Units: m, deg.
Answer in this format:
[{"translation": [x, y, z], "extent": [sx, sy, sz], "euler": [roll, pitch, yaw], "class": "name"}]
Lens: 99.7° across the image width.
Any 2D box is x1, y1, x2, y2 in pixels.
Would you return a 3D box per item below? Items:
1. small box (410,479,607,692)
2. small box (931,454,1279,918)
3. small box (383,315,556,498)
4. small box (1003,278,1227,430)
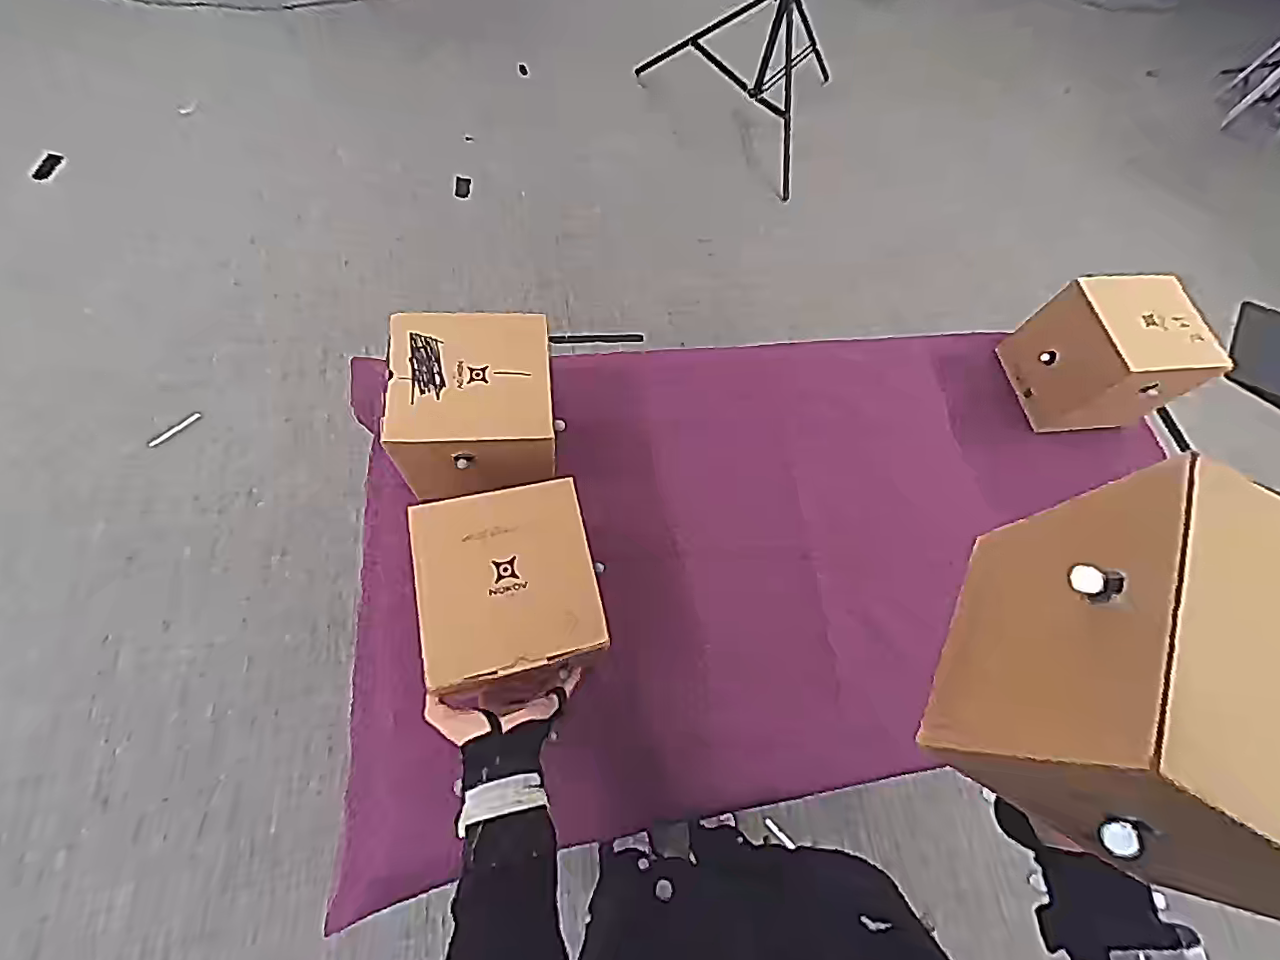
[{"translation": [-0.138, 0.123, 0.588], "extent": [0.168, 0.176, 0.179], "euler": [-11, 67, -14], "class": "small box"}, {"translation": [0.307, 0.123, 0.316], "extent": [0.168, 0.176, 0.179], "euler": [30, 66, 6], "class": "small box"}, {"translation": [-0.196, -0.083, 0.667], "extent": [0.179, 0.176, 0.168], "euler": [-2, 68, -10], "class": "small box"}, {"translation": [0.706, -0.188, 0.835], "extent": [0.179, 0.176, 0.168], "euler": [-4, 67, -10], "class": "small box"}]
